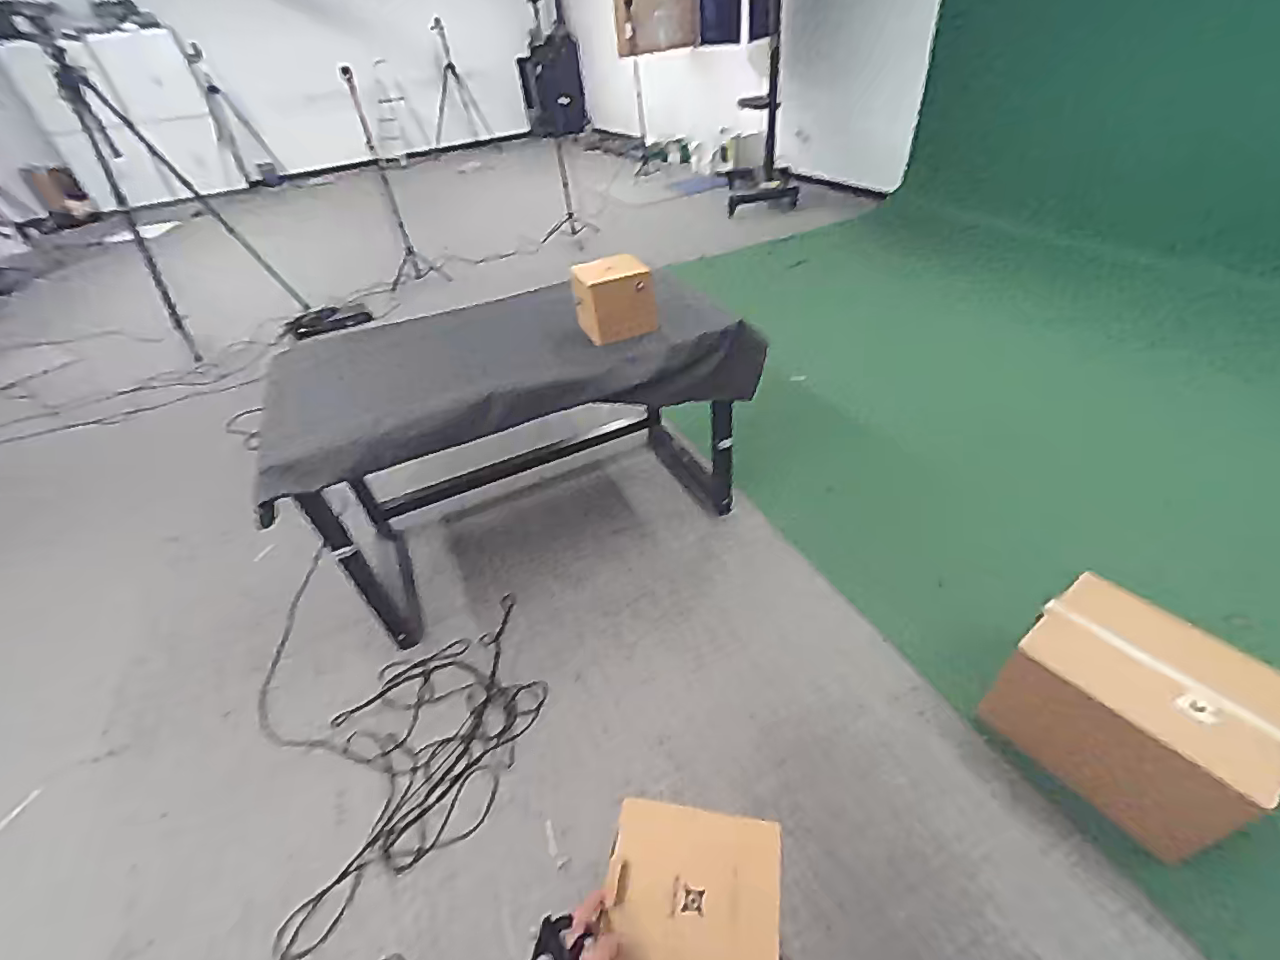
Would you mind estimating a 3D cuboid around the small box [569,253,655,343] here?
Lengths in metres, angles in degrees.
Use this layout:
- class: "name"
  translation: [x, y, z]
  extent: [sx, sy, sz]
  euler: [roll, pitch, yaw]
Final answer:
- class: "small box"
  translation: [-0.072, -0.485, 1.449]
  extent: [0.179, 0.176, 0.168]
  euler: [-19, 41, -14]

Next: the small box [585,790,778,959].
- class: "small box"
  translation: [0.057, 0.467, 0.587]
  extent: [0.179, 0.176, 0.168]
  euler: [2, 43, 13]
